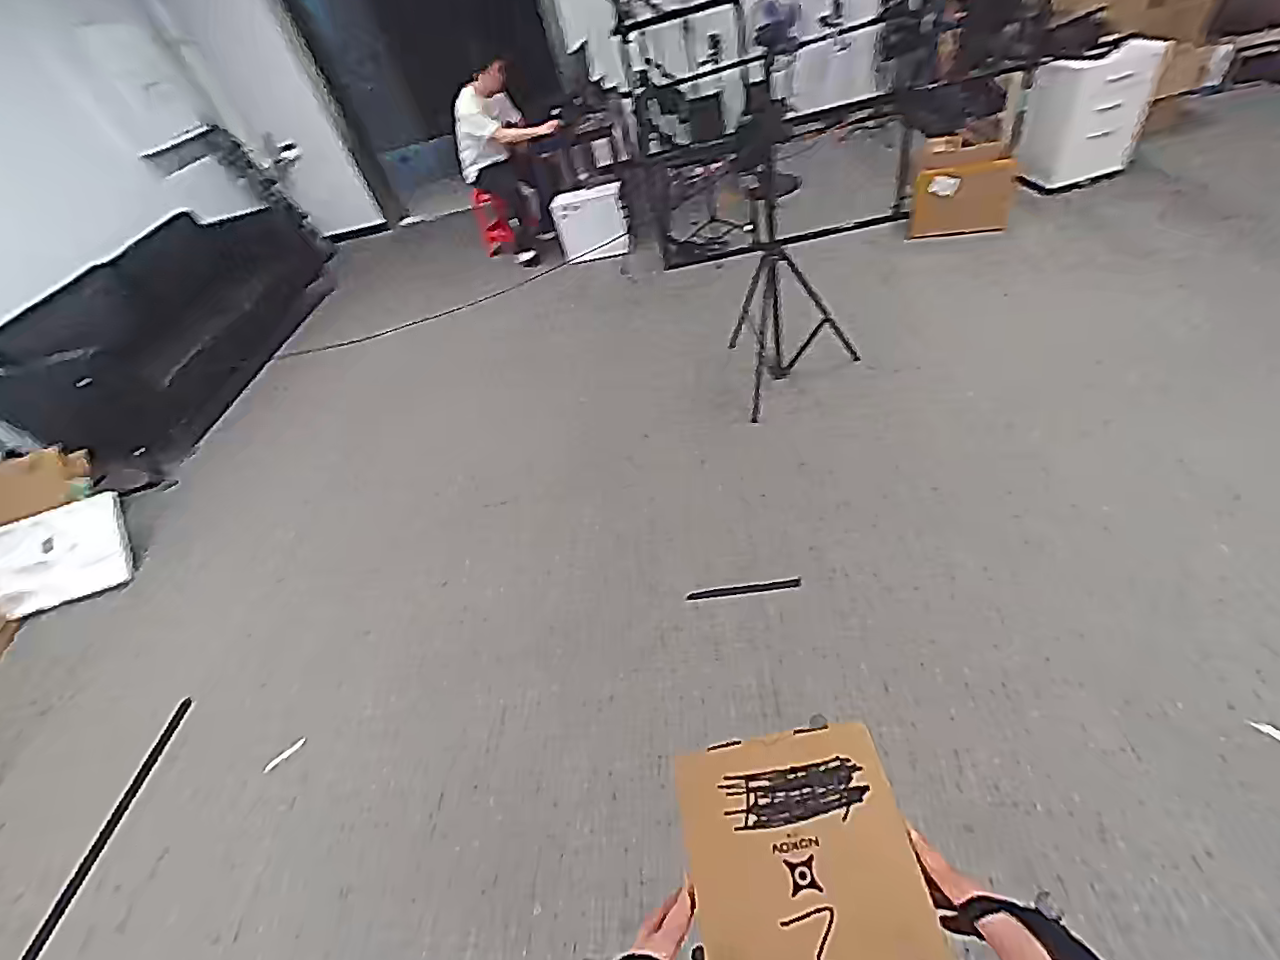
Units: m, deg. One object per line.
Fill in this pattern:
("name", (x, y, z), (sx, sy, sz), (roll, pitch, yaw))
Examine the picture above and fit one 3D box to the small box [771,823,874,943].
("small box", (0.369, 0.837, 1.121), (0.168, 0.176, 0.179), (-9, 44, 9))
